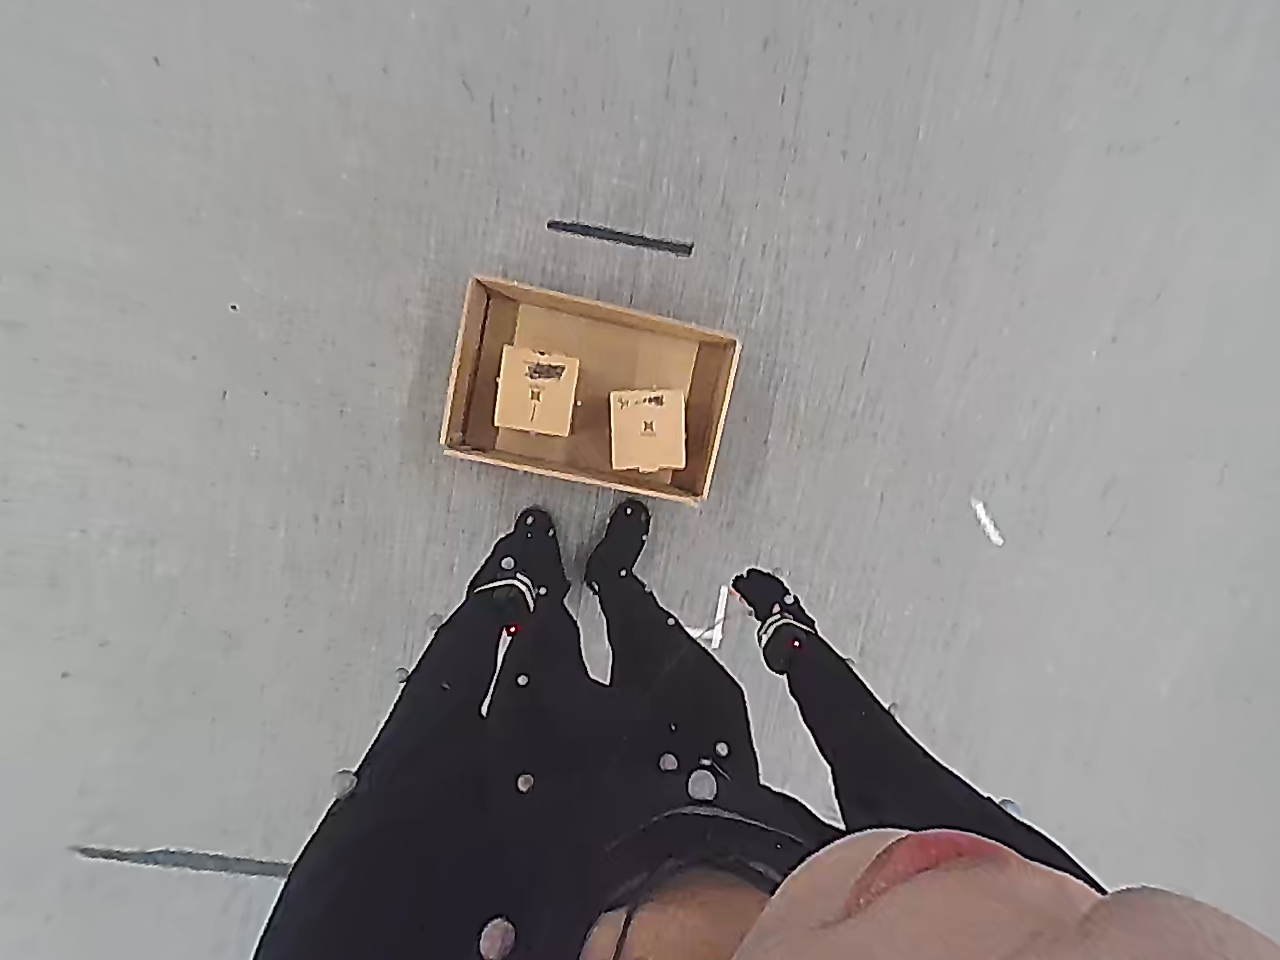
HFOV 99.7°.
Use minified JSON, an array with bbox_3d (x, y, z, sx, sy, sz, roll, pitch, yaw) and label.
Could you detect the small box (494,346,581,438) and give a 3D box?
[{"bbox_3d":[-0.230,-0.199,1.249,0.168,0.176,0.179,9,96,-6],"label":"small box"}]
